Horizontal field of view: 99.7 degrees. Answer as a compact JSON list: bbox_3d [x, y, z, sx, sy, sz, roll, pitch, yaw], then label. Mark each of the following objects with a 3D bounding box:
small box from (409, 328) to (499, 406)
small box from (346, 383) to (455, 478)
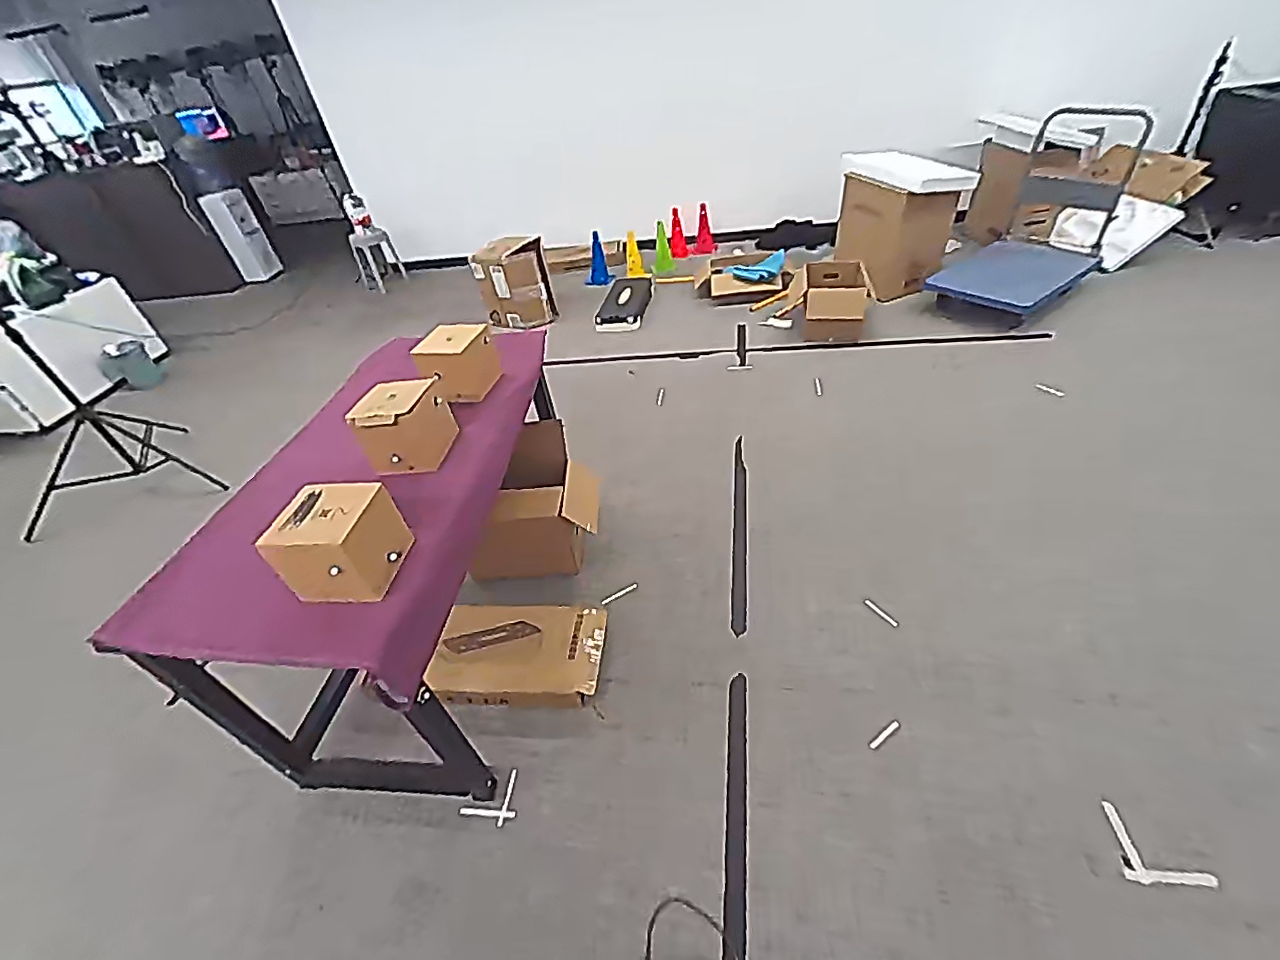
[{"bbox_3d":[-0.541,-0.332,1.603,0.168,0.176,0.179,2,41,14],"label":"small box"},{"bbox_3d":[-0.592,-0.125,1.366,0.168,0.176,0.179,-4,40,10],"label":"small box"}]
